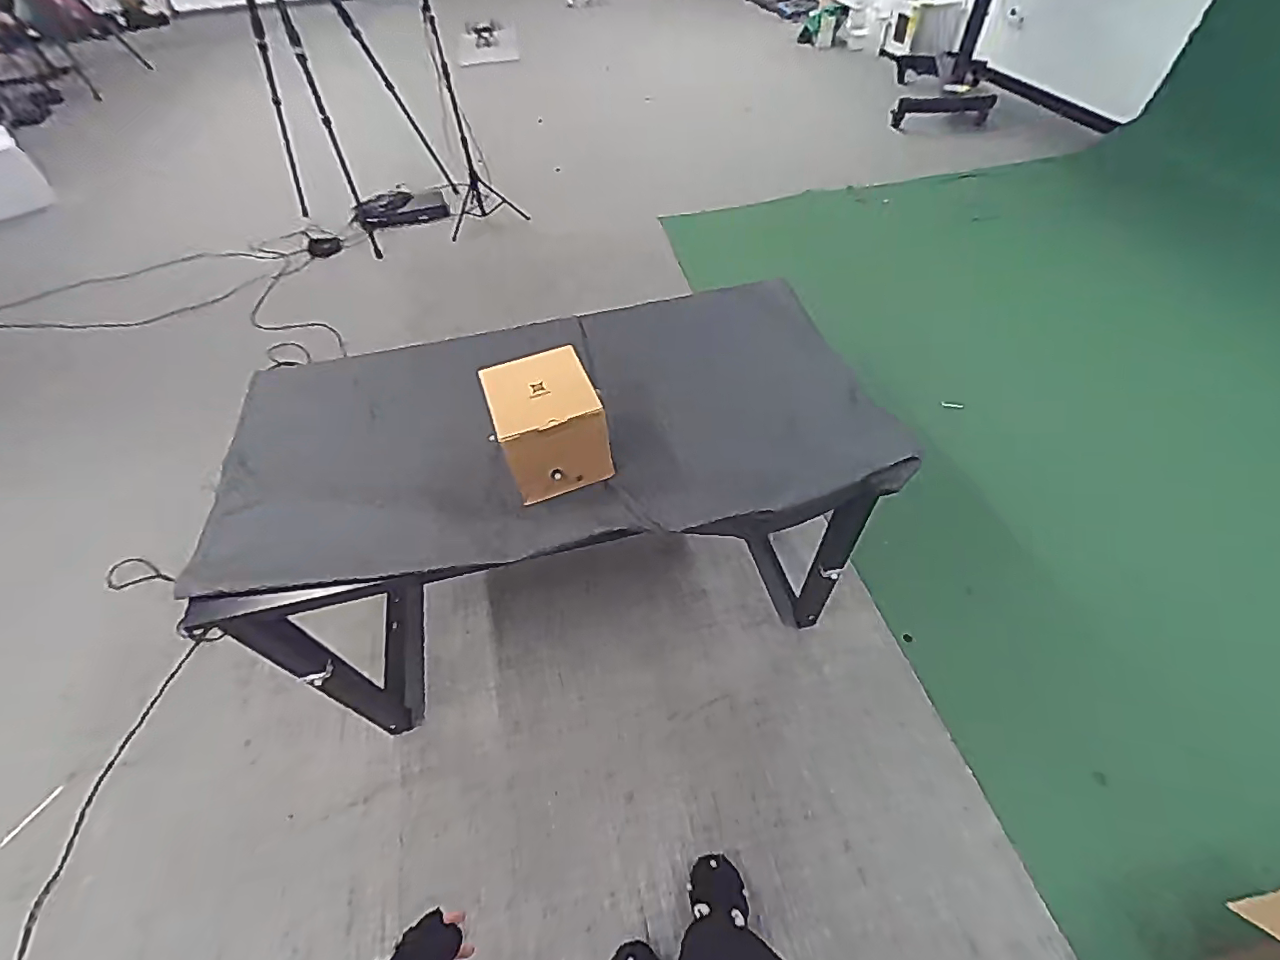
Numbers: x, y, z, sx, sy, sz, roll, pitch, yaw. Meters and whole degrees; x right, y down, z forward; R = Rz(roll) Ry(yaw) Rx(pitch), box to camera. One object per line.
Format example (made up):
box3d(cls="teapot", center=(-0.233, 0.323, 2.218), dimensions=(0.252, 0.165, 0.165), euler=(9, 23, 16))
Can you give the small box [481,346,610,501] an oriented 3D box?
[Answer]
box3d(cls="small box", center=(-0.158, -0.096, 0.926), dimensions=(0.168, 0.176, 0.179), euler=(-19, 54, -12))
